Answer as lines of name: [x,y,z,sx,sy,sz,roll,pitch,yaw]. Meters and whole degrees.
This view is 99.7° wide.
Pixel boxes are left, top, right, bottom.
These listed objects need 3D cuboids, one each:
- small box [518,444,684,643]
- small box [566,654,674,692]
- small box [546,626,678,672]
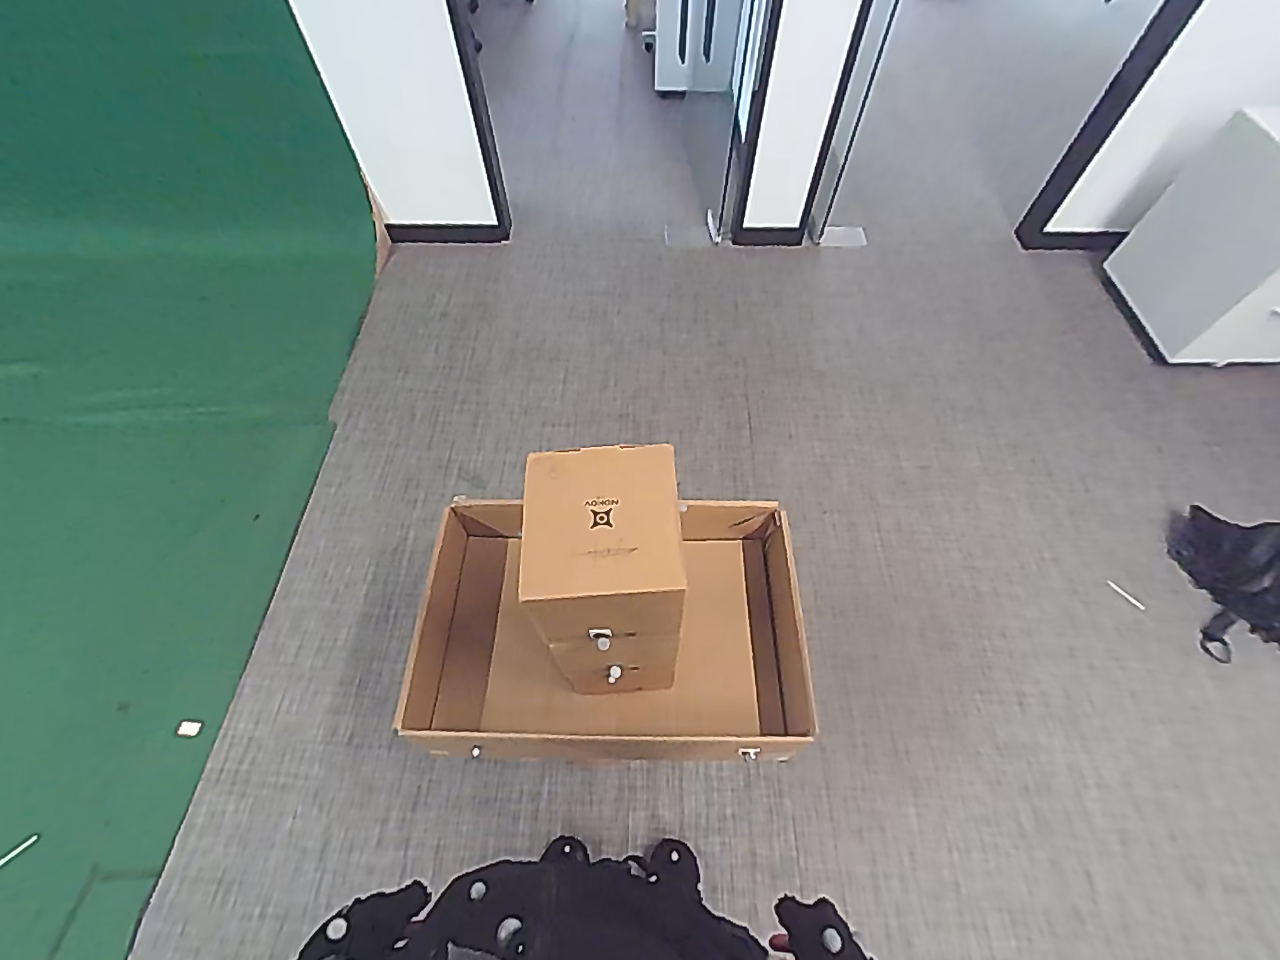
small box: [-0.041,0.079,0.639,0.168,0.176,0.179,-4,59,0]
small box: [-0.033,0.247,0.917,0.168,0.176,0.179,-5,57,0]
small box: [-0.038,0.164,0.776,0.168,0.176,0.179,-3,59,-1]
